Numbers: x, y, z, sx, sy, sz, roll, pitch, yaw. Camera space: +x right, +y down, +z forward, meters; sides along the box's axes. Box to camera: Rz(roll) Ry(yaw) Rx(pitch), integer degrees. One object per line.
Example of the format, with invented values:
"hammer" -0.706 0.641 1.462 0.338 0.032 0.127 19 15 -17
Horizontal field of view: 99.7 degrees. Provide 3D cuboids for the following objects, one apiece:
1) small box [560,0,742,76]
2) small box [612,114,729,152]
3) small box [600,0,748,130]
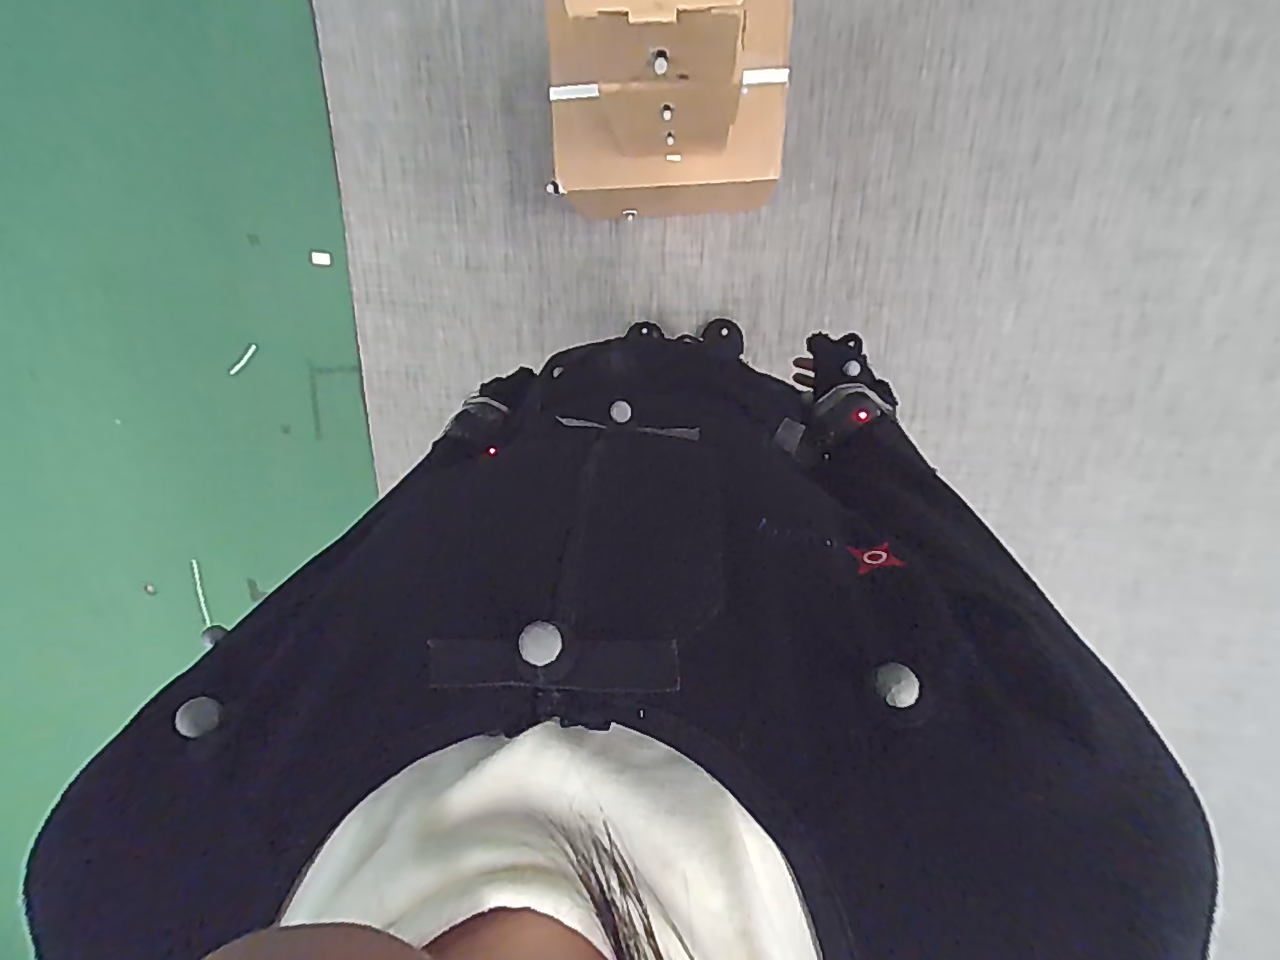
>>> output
"small box" 0.022 -0.530 0.537 0.168 0.176 0.179 5 110 6
"small box" 0.054 -0.629 0.848 0.179 0.176 0.168 2 109 5
"small box" 0.042 -0.572 0.695 0.179 0.176 0.168 -2 108 7
